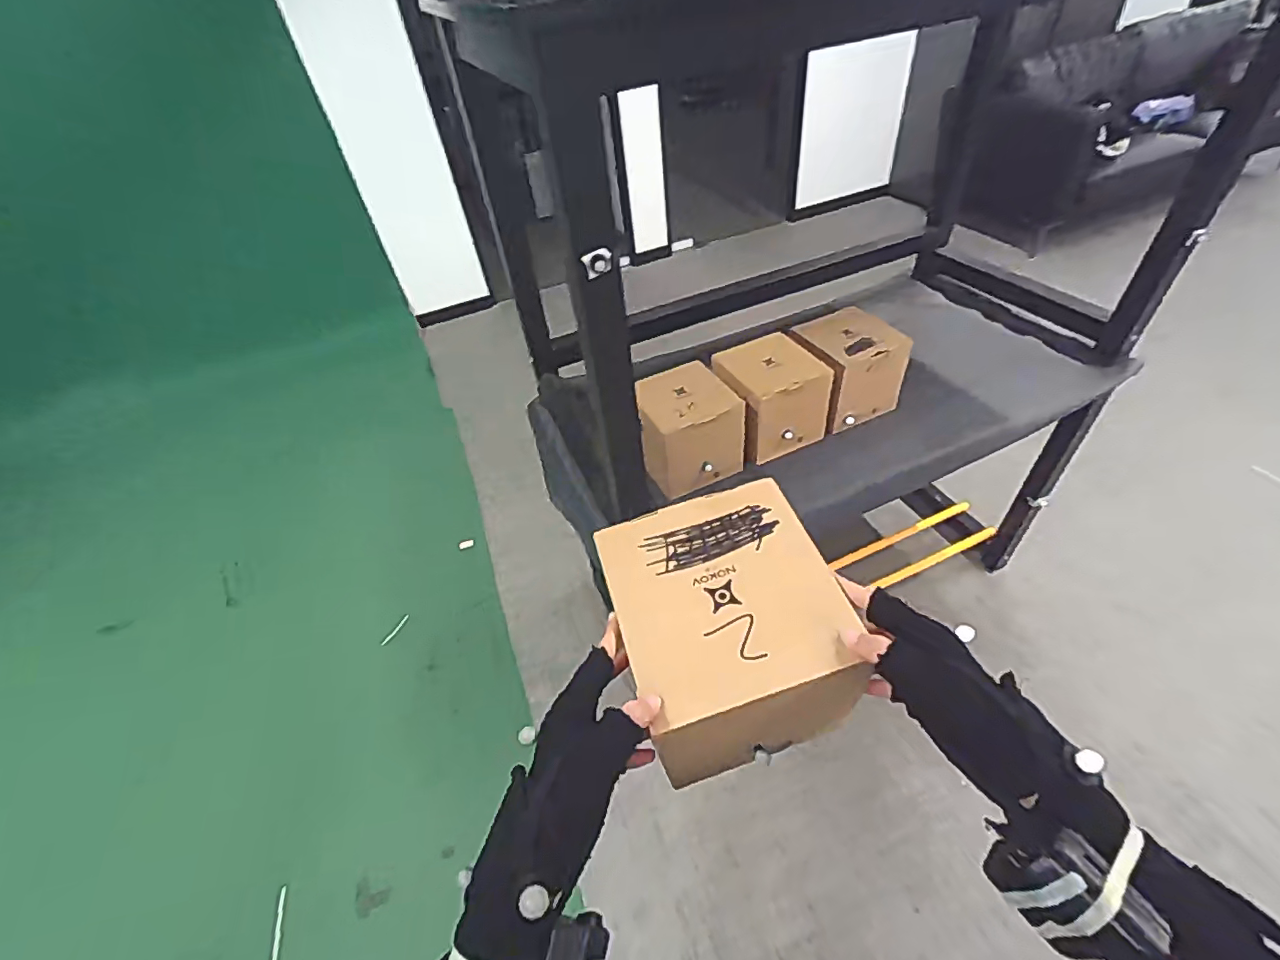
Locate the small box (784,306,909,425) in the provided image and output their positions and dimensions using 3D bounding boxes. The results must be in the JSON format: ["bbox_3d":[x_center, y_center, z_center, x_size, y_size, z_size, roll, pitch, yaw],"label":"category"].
[{"bbox_3d":[0.422,-0.235,1.135,0.168,0.176,0.179,-22,45,-13],"label":"small box"}]

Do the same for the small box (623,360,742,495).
[{"bbox_3d":[0.082,-0.102,1.050,0.168,0.176,0.179,-22,46,-13],"label":"small box"}]
